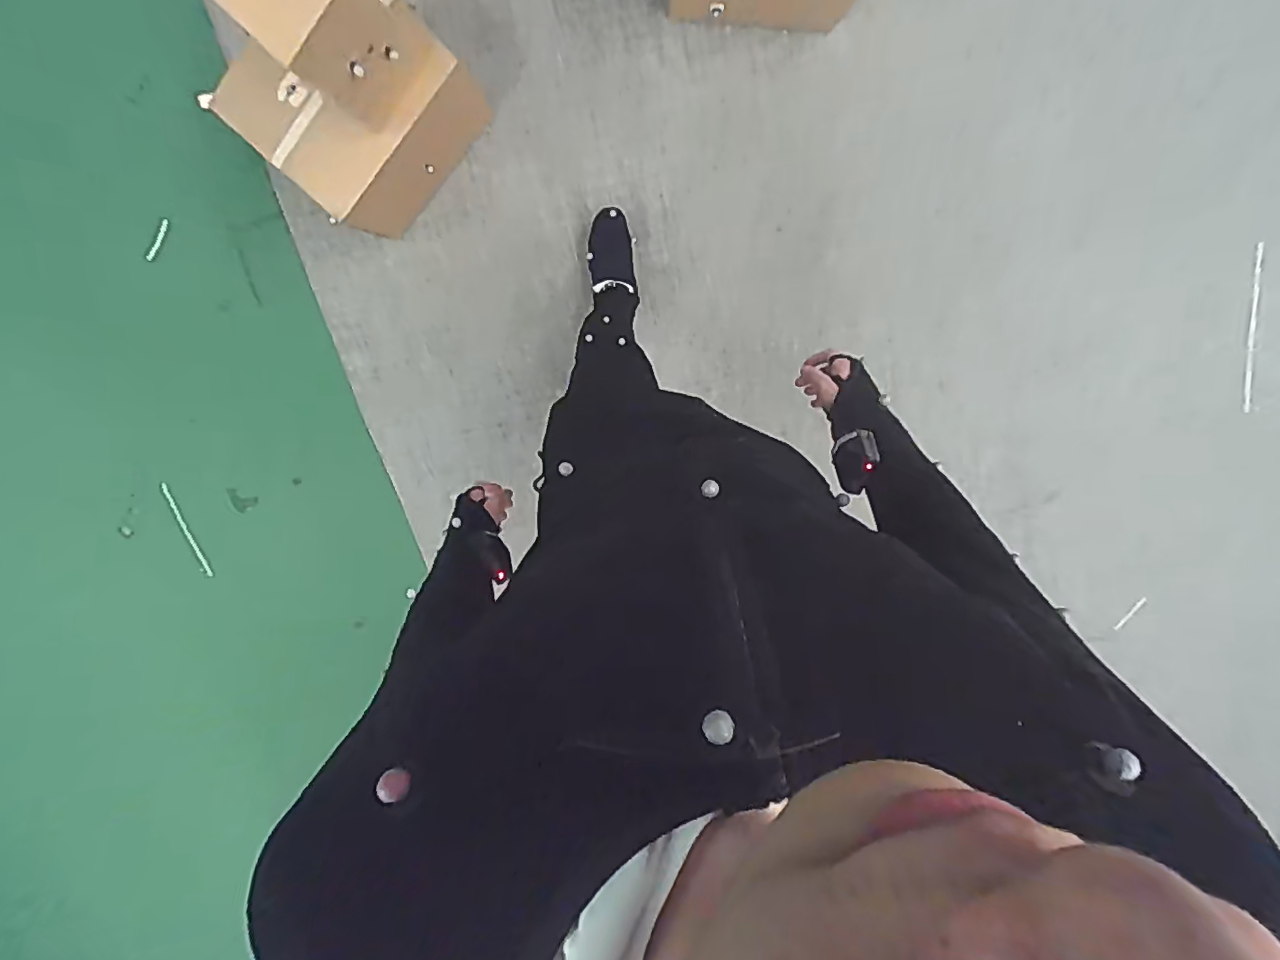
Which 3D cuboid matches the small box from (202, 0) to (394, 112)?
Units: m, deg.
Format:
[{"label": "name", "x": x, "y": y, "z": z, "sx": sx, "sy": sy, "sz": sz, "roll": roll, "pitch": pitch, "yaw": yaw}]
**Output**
[{"label": "small box", "x": -0.514, "y": -0.705, "z": 0.810, "sx": 0.179, "sy": 0.176, "sz": 0.168, "roll": 43, "pitch": 101, "yaw": -14}]
